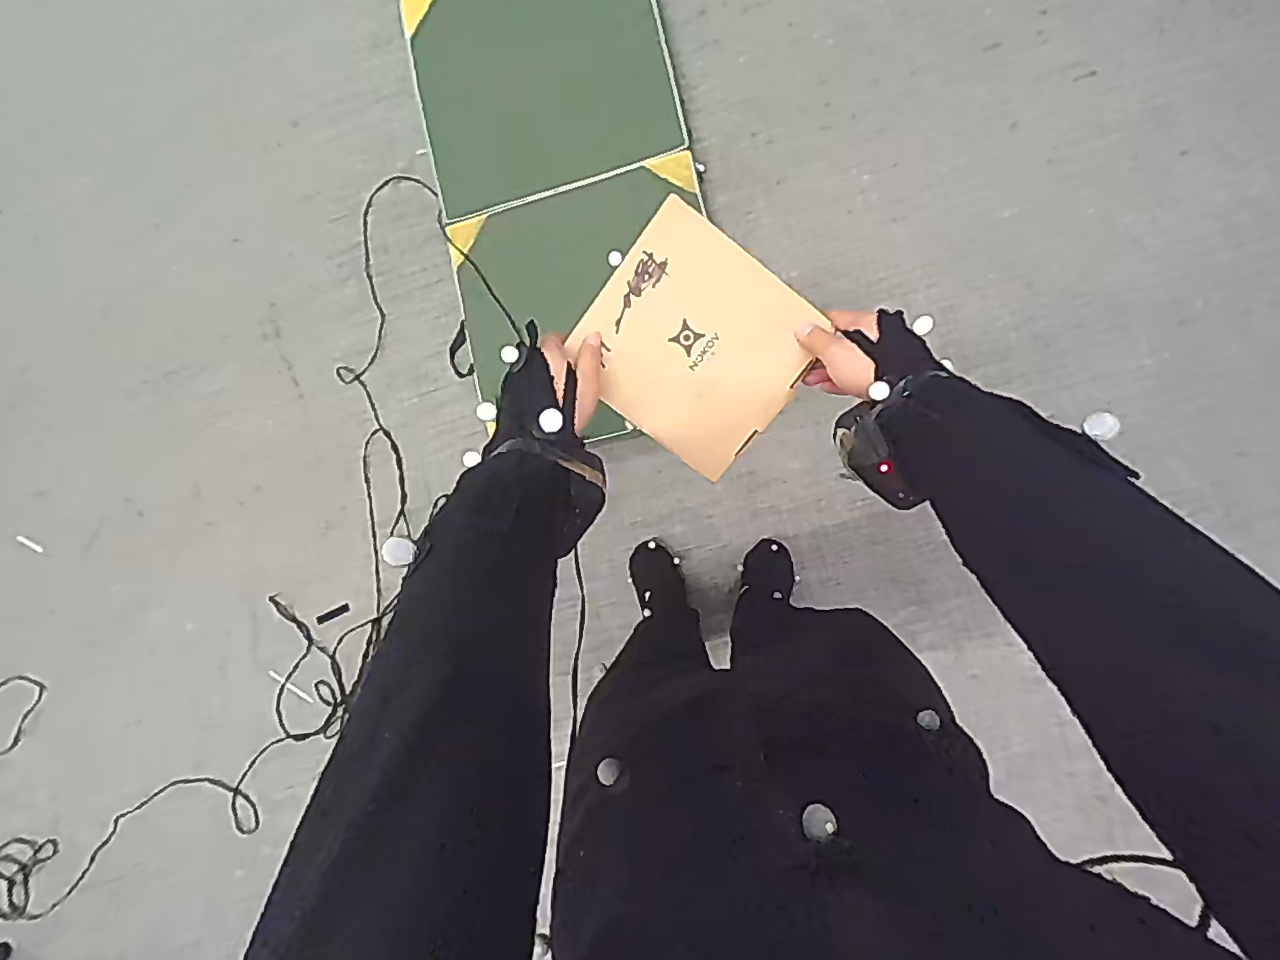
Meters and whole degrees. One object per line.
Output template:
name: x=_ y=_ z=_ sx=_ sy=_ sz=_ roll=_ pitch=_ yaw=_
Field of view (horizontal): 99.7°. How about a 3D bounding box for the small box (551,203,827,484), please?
small box: x=0.041 y=-0.125 z=0.528 sx=0.179 sy=0.176 sz=0.168 roll=37 pitch=98 yaw=-7
